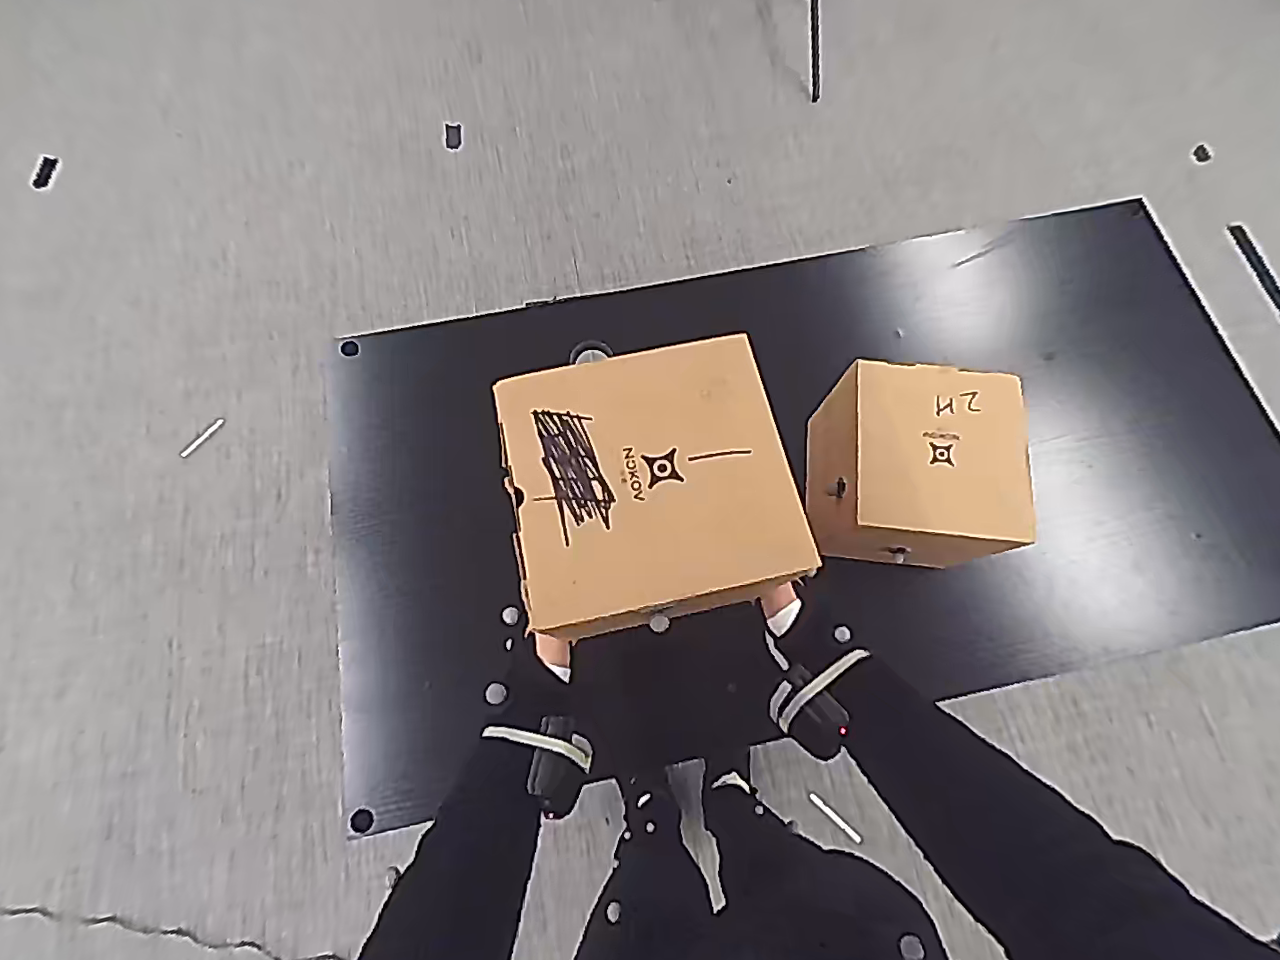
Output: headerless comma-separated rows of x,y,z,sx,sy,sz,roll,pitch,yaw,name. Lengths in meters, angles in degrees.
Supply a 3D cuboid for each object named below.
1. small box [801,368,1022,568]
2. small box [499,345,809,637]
0.288,-0.003,0.610,0.168,0.176,0.179,6,73,1,small box
0.005,0.023,0.423,0.179,0.176,0.168,-11,72,-4,small box
